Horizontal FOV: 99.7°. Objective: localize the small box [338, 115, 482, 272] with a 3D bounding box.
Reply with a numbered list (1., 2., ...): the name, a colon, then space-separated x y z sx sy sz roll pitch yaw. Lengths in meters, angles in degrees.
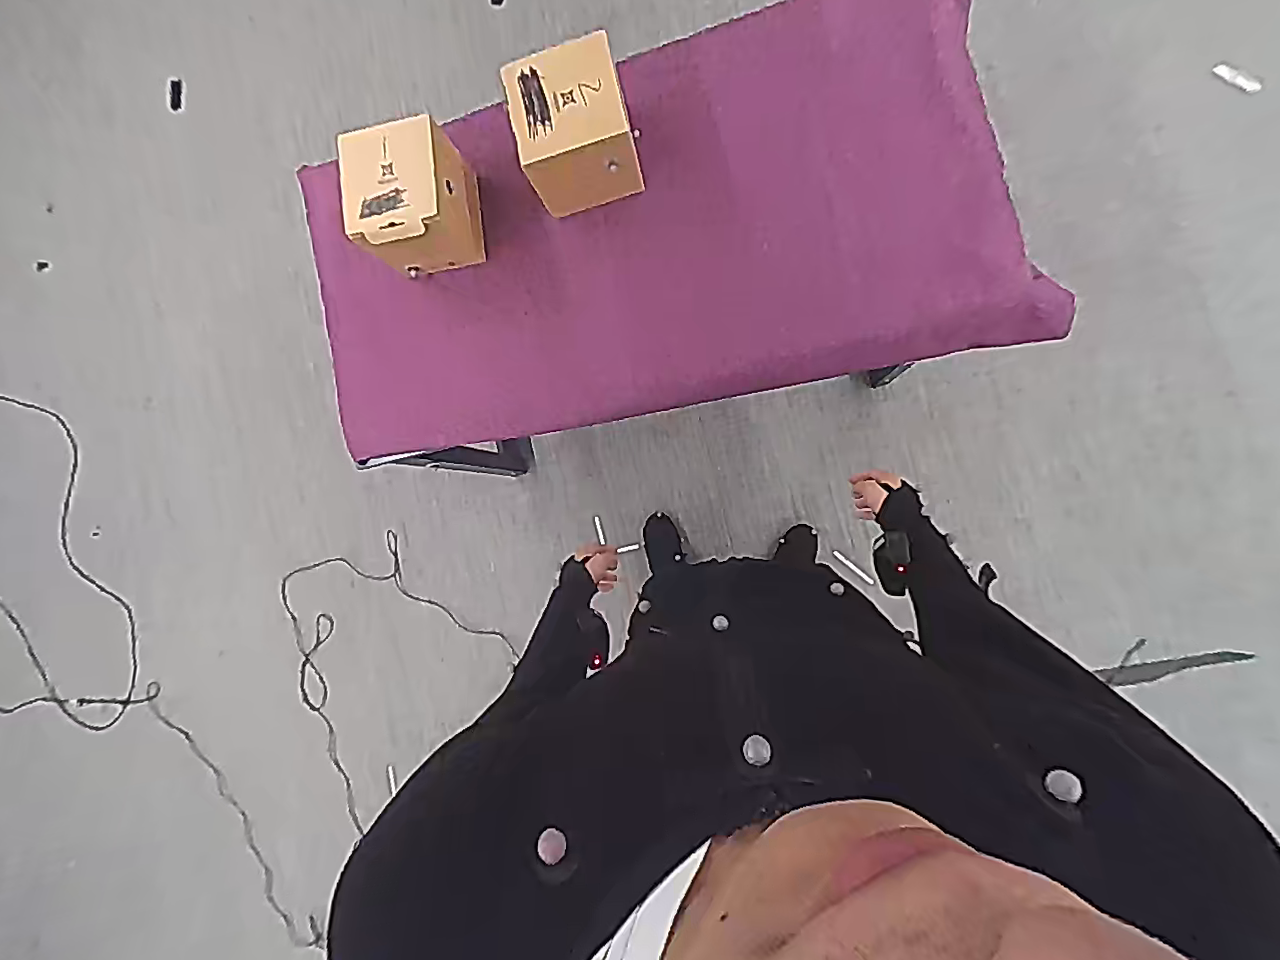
1. small box: -0.389 -0.481 0.941 0.168 0.176 0.179 -7 87 8
